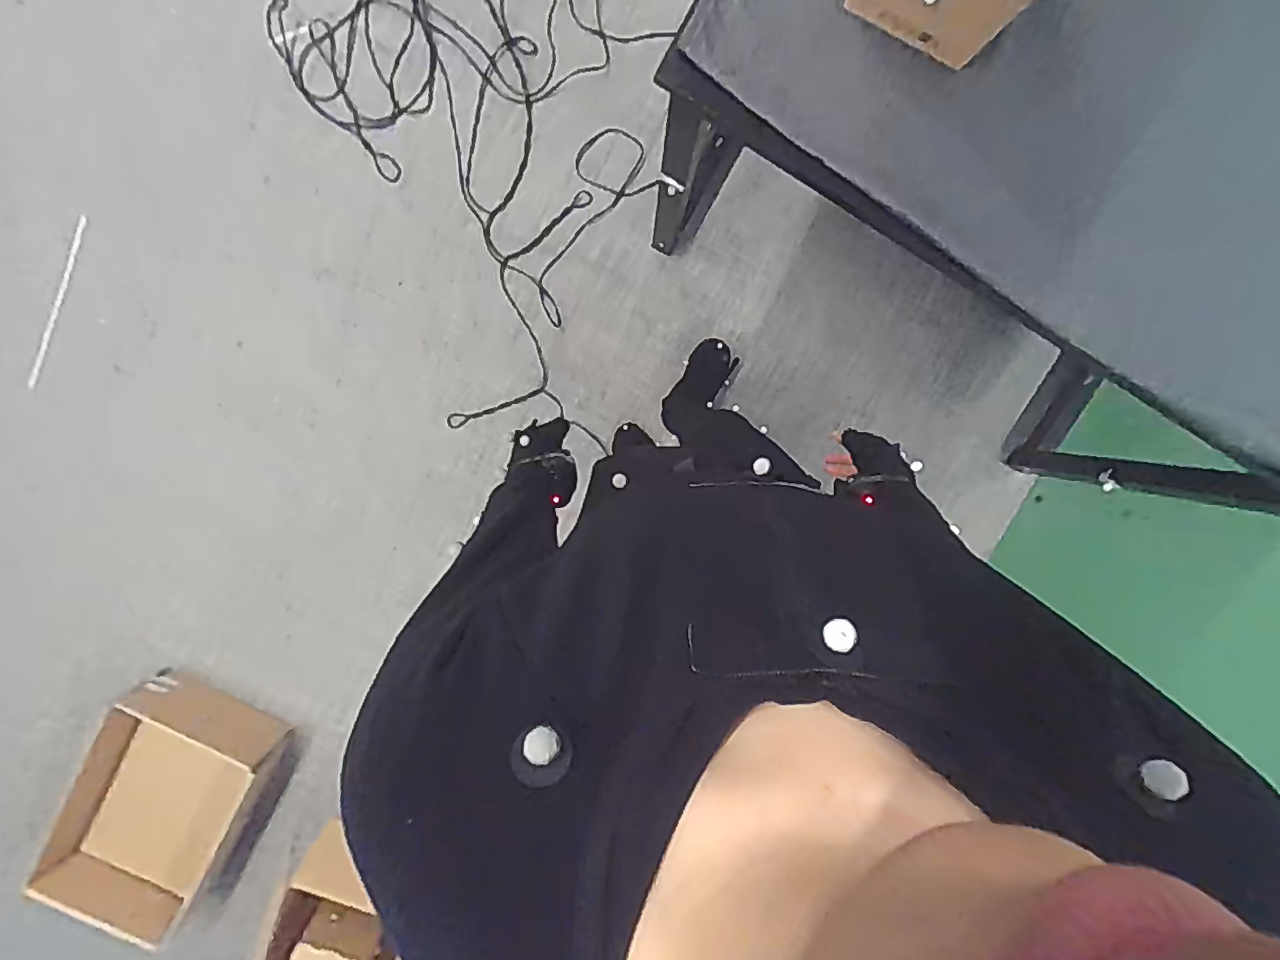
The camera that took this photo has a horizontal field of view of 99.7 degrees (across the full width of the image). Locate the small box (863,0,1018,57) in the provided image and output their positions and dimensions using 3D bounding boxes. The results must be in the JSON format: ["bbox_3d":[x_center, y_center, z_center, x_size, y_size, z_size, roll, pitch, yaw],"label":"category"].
[{"bbox_3d":[0.356,-0.606,0.568,0.168,0.176,0.179,23,96,-6],"label":"small box"}]

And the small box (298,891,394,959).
[{"bbox_3d":[-0.741,1.184,1.347,0.168,0.176,0.179,20,95,-3],"label":"small box"}]
